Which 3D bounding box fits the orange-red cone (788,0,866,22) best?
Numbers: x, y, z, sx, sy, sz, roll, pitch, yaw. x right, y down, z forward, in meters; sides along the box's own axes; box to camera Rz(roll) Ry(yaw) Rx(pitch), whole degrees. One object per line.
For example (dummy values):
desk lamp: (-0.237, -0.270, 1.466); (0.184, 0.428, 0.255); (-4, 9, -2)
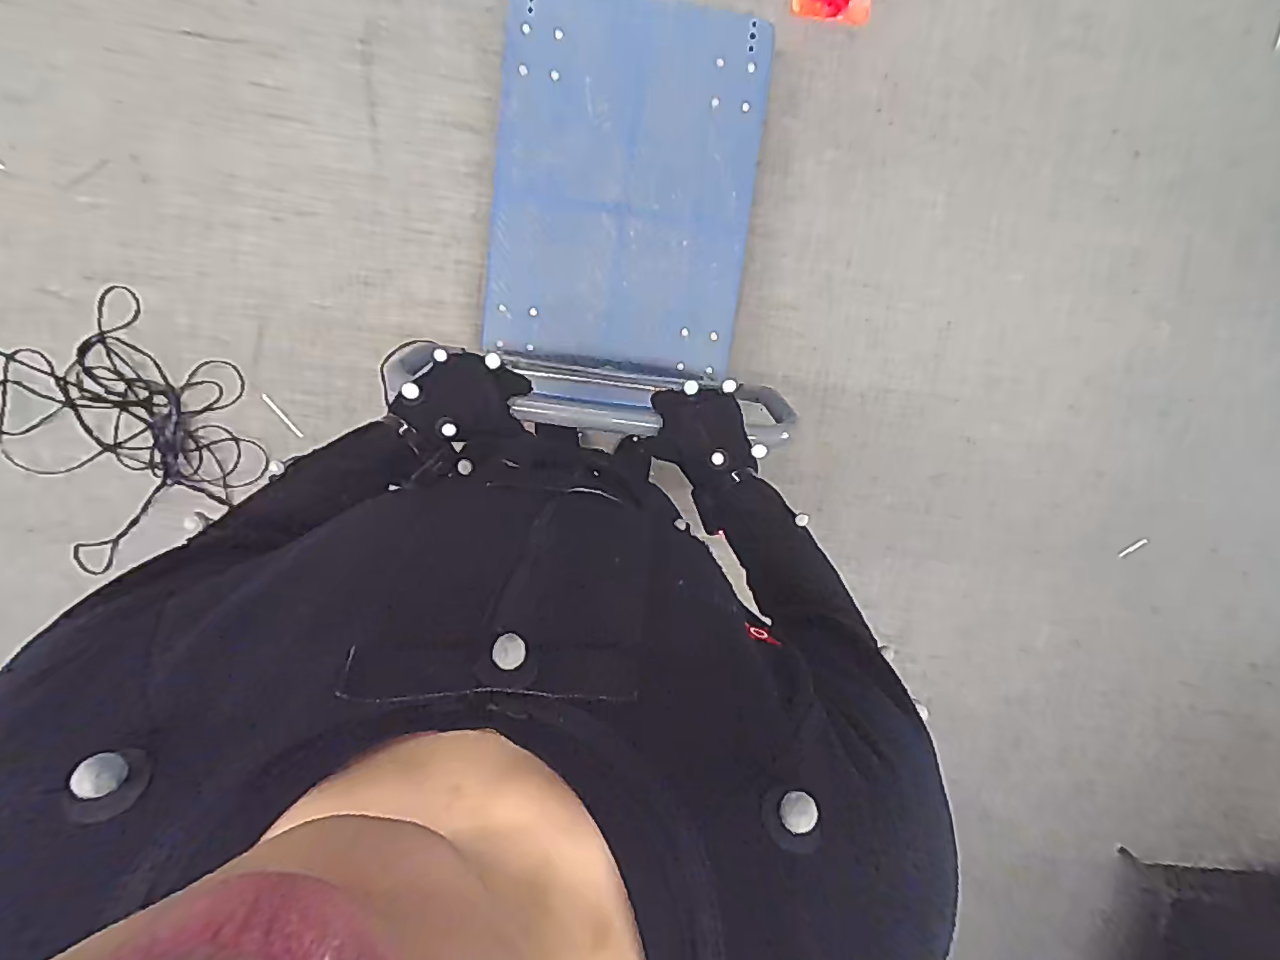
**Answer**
orange-red cone: (0.477, -1.224, 1.164); (0.199, 0.360, 0.198); (7, 97, -2)
